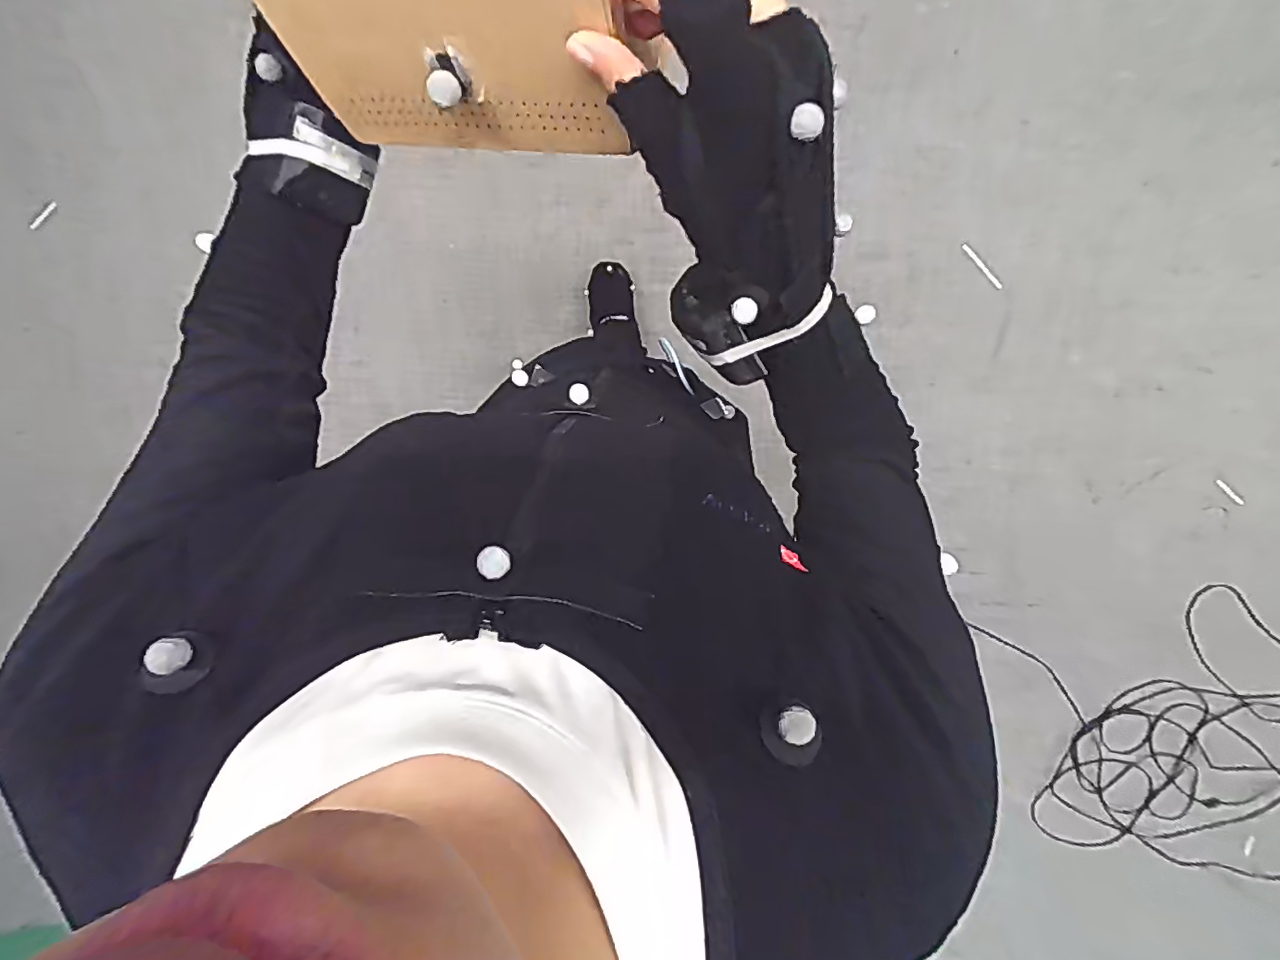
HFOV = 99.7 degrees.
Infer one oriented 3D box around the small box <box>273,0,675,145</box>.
[{"bbox_3d":[-0.077,-0.291,0.253,0.179,0.176,0.168,11,73,13],"label":"small box"}]
